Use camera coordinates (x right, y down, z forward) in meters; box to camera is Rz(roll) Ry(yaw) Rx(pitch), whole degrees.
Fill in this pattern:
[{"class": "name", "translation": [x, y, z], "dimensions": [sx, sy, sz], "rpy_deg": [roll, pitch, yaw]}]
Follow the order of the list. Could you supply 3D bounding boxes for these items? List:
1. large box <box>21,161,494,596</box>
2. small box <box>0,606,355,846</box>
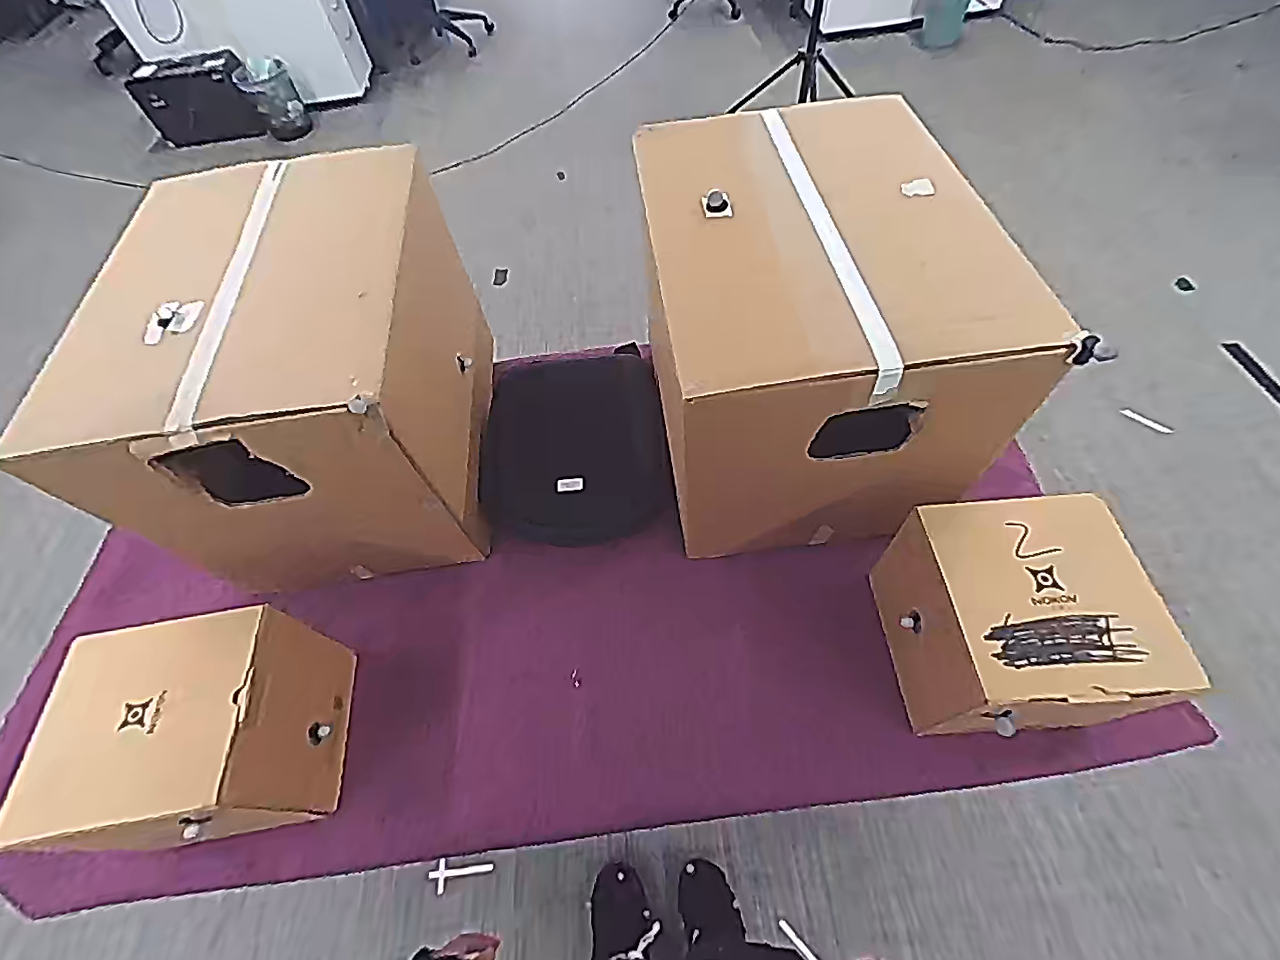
[{"class": "large box", "translation": [-0.377, -0.116, 0.669], "dimensions": [0.320, 0.320, 0.408], "rpy_deg": [-10, 59, -1]}, {"class": "small box", "translation": [-0.412, 0.243, 0.523], "dimensions": [0.179, 0.176, 0.168], "rpy_deg": [-11, 56, -3]}]
